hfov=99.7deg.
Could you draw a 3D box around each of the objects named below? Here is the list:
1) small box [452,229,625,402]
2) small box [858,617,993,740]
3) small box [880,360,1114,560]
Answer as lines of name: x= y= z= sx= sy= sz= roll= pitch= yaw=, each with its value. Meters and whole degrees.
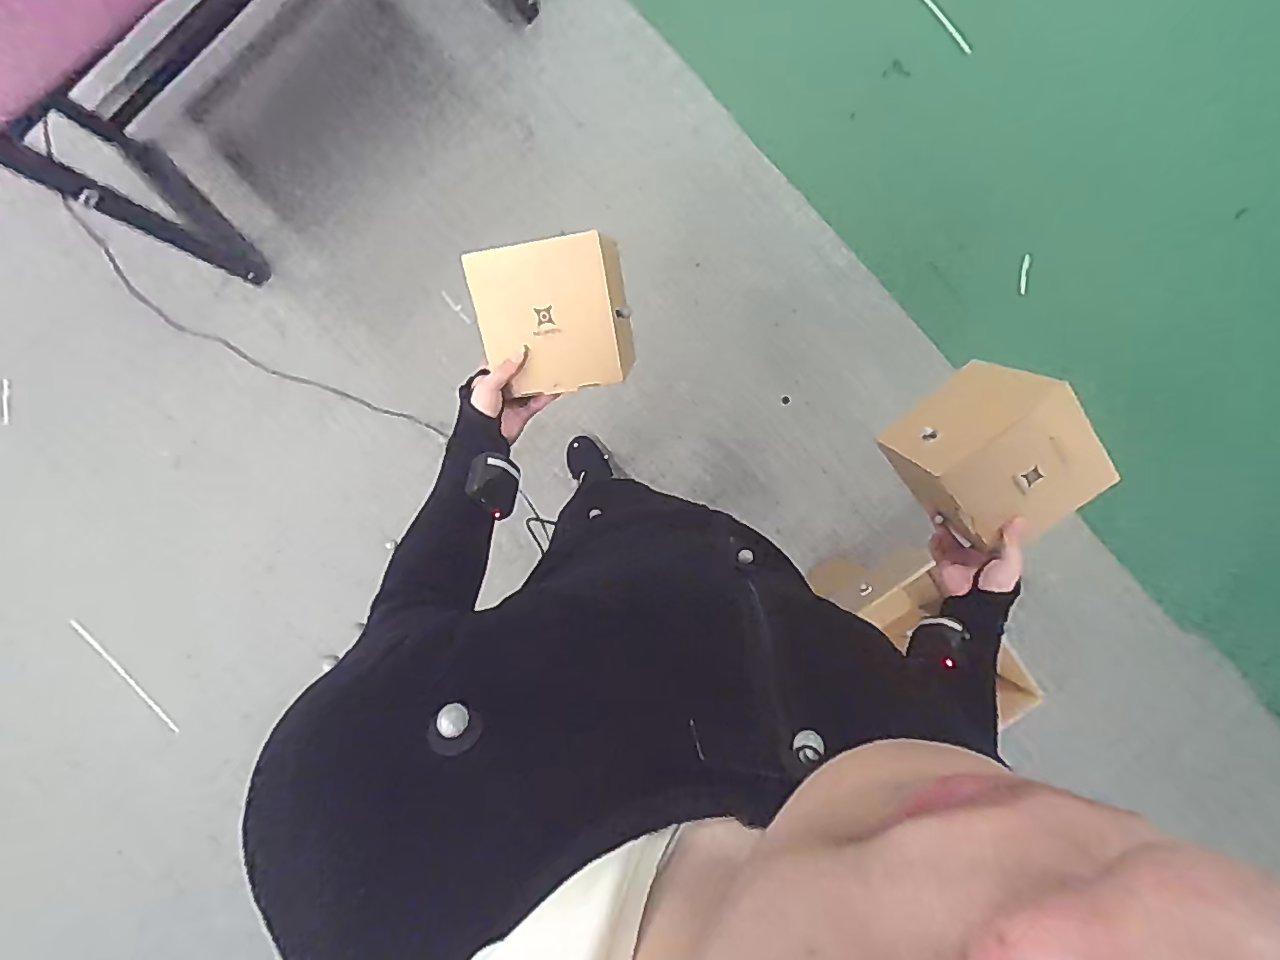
small box: x=-0.118 y=-0.216 z=0.707 sx=0.168 sy=0.176 sz=0.179 roll=-8 pitch=112 yaw=7
small box: x=0.637 y=0.438 z=1.228 sx=0.179 sy=0.176 sz=0.168 roll=-34 pitch=92 yaw=0
small box: x=0.452 y=-0.034 z=0.719 sx=0.179 sy=0.176 sz=0.168 roll=-40 pitch=111 yaw=10
